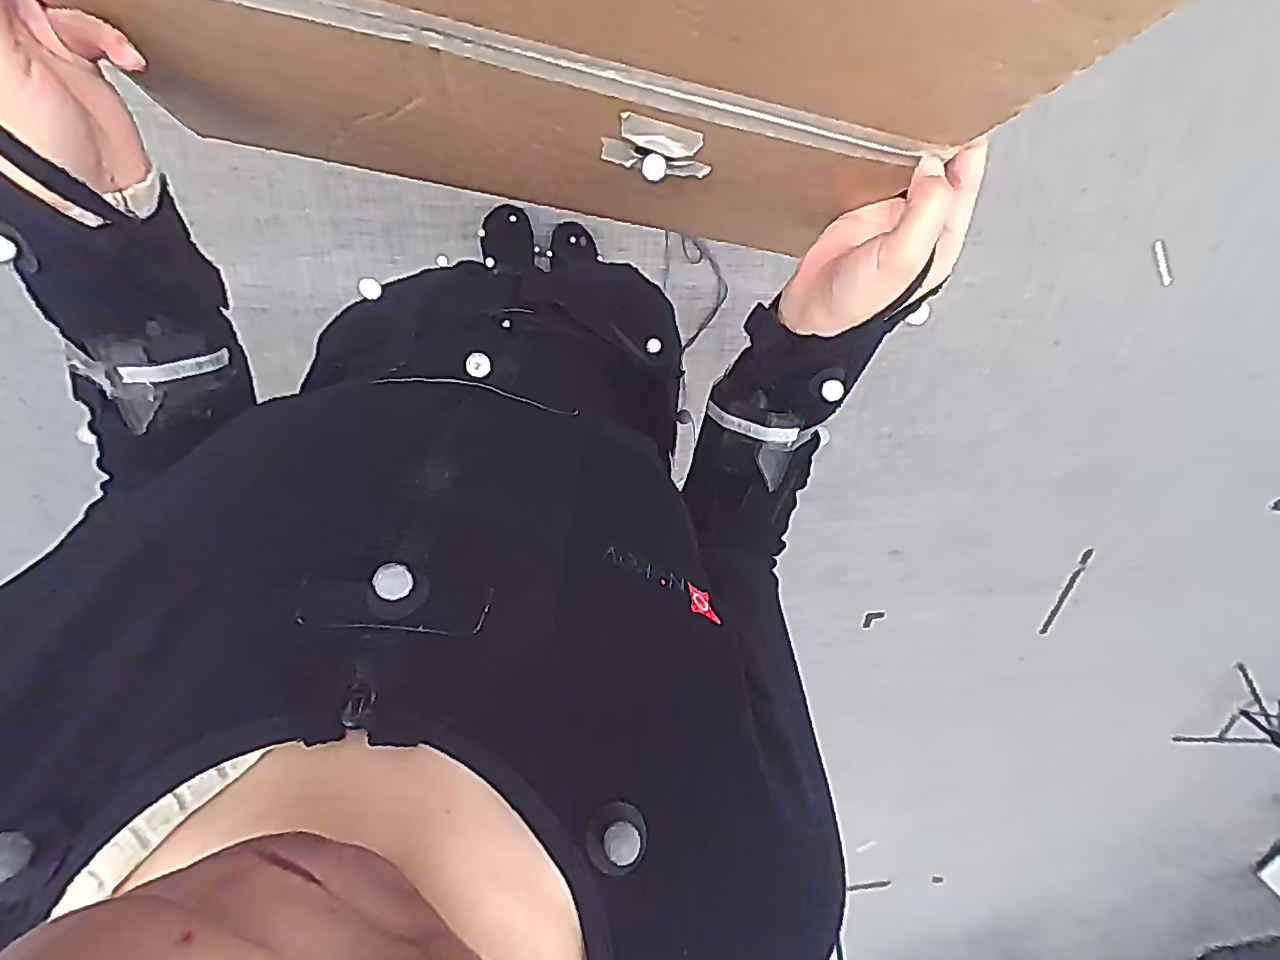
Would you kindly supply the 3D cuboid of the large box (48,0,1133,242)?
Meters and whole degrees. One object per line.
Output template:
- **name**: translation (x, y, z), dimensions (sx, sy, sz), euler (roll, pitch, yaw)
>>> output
- **large box**: translation (-0.034, -0.334, 0.215), dimensions (0.408, 0.320, 0.320), euler (5, 95, -11)
